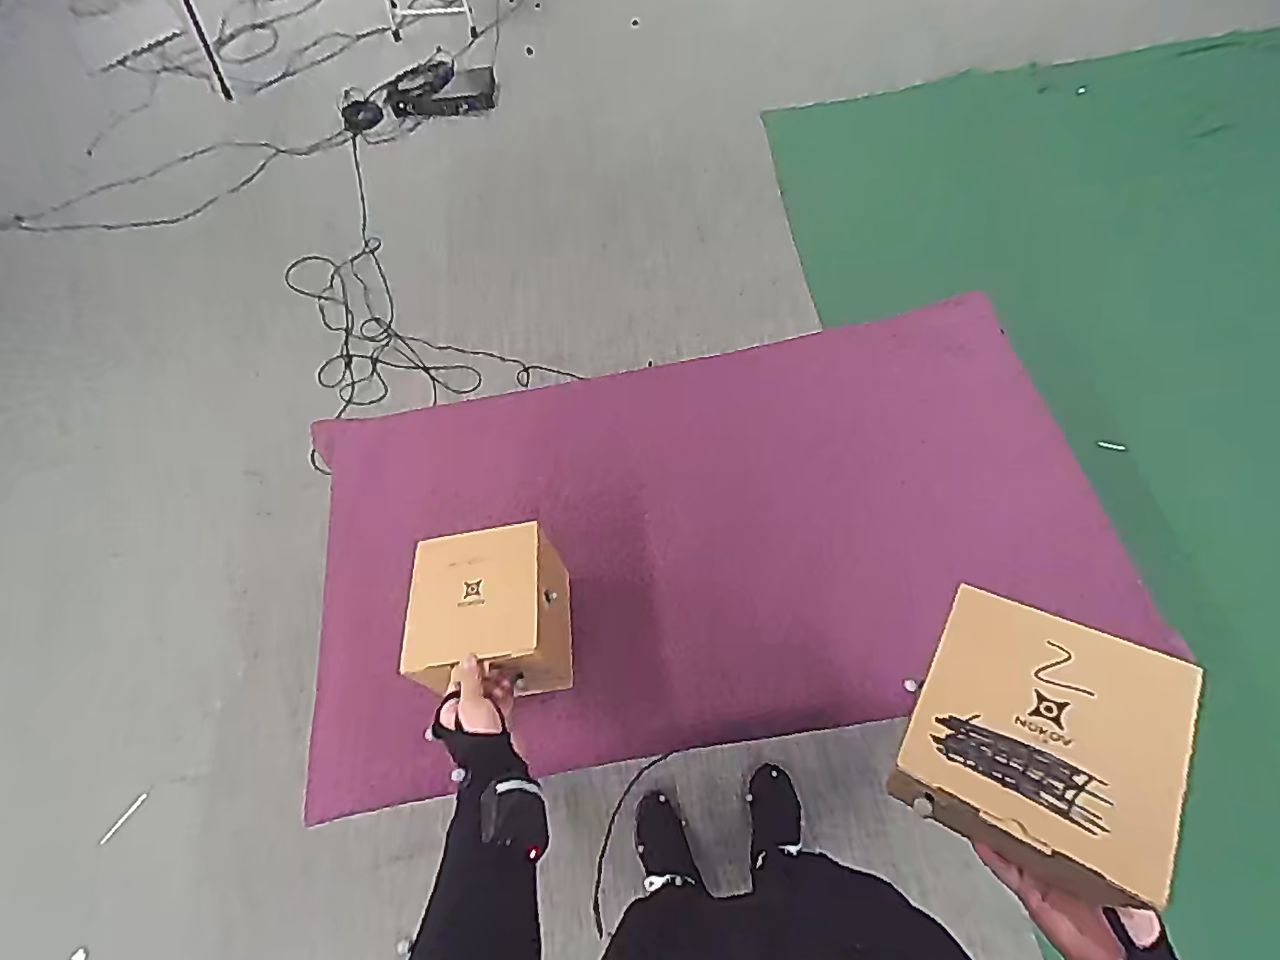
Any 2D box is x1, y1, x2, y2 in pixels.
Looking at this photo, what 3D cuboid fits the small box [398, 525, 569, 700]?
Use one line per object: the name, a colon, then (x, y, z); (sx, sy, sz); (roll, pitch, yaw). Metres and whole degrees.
small box: (-0.196, 0.187, 0.730); (0.168, 0.176, 0.179); (-10, 54, 4)
